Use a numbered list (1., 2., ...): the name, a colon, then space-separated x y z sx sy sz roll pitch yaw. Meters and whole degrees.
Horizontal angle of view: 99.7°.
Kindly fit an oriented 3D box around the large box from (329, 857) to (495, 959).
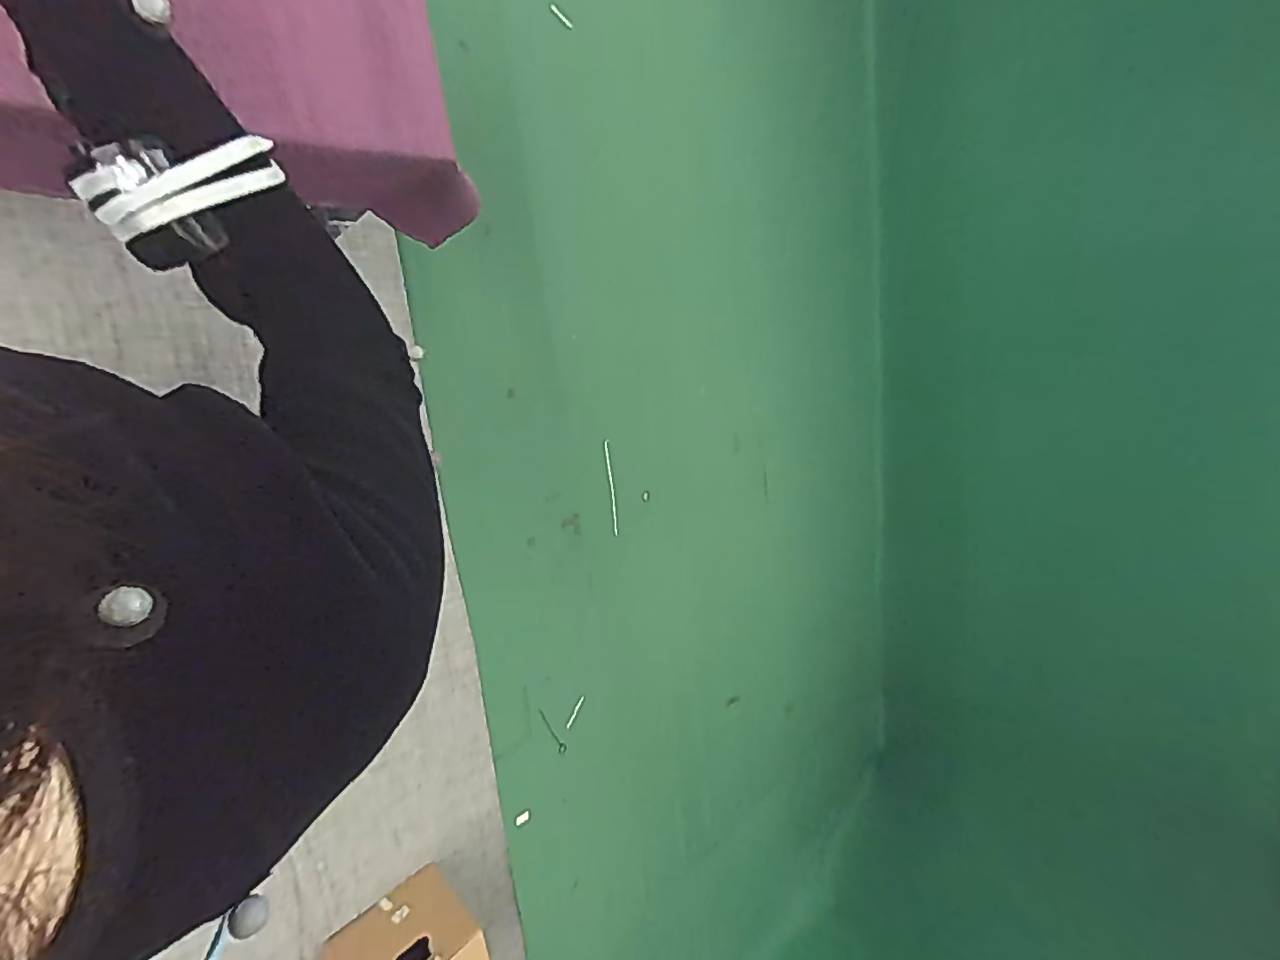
1. large box: -0.610 1.389 1.503 0.320 0.320 0.408 -19 108 -42
